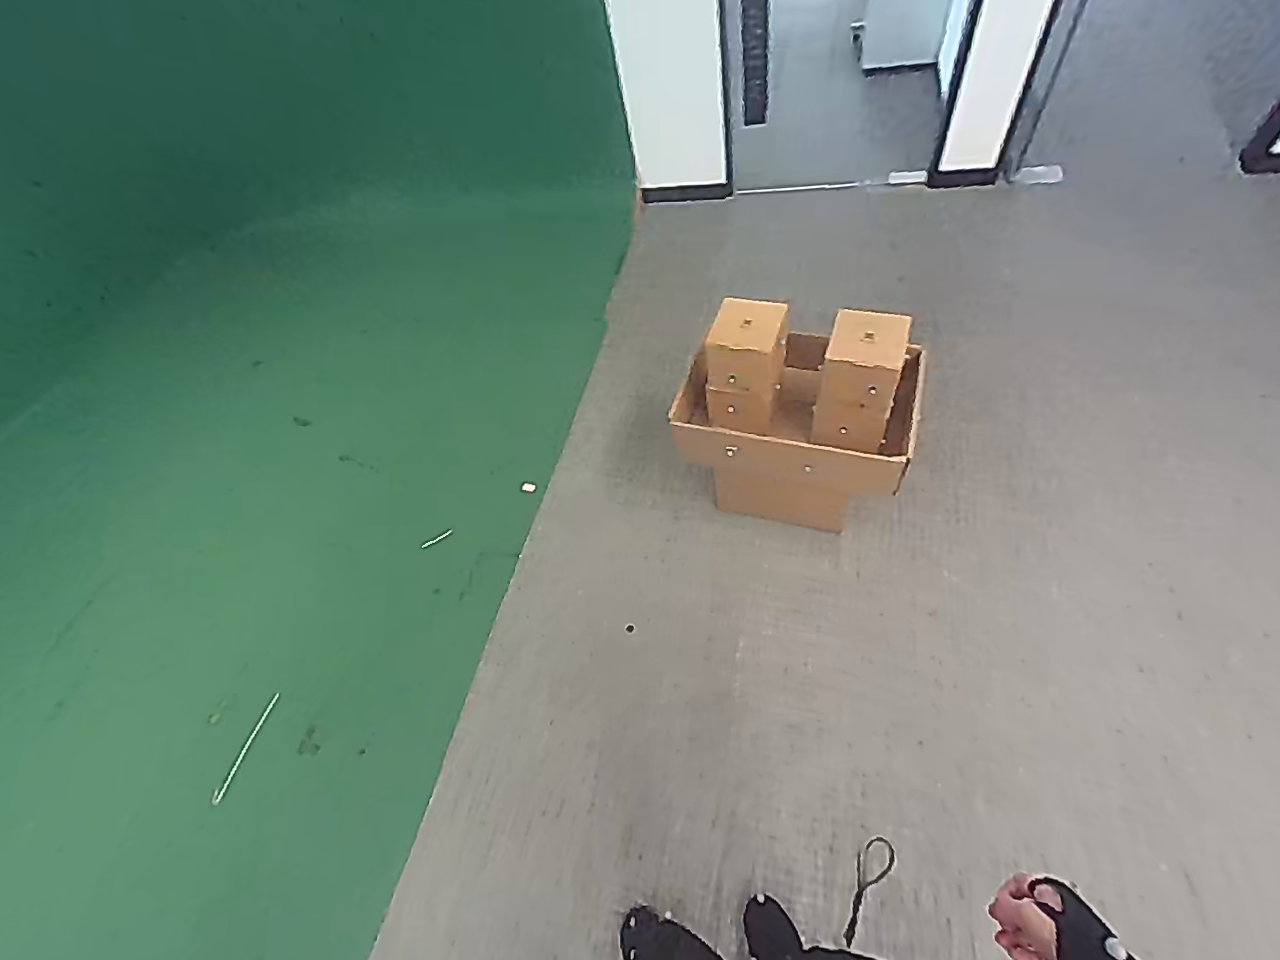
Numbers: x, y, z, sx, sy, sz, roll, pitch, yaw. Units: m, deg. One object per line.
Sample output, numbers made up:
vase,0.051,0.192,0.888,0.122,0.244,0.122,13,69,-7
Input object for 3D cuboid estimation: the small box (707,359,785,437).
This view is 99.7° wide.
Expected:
small box,0.305,-0.245,1.549,0.179,0.176,0.168,15,61,21

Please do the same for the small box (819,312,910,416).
small box,0.540,-0.280,1.315,0.168,0.176,0.179,13,59,20

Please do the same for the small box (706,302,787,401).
small box,0.280,-0.337,1.417,0.168,0.176,0.179,13,61,20
